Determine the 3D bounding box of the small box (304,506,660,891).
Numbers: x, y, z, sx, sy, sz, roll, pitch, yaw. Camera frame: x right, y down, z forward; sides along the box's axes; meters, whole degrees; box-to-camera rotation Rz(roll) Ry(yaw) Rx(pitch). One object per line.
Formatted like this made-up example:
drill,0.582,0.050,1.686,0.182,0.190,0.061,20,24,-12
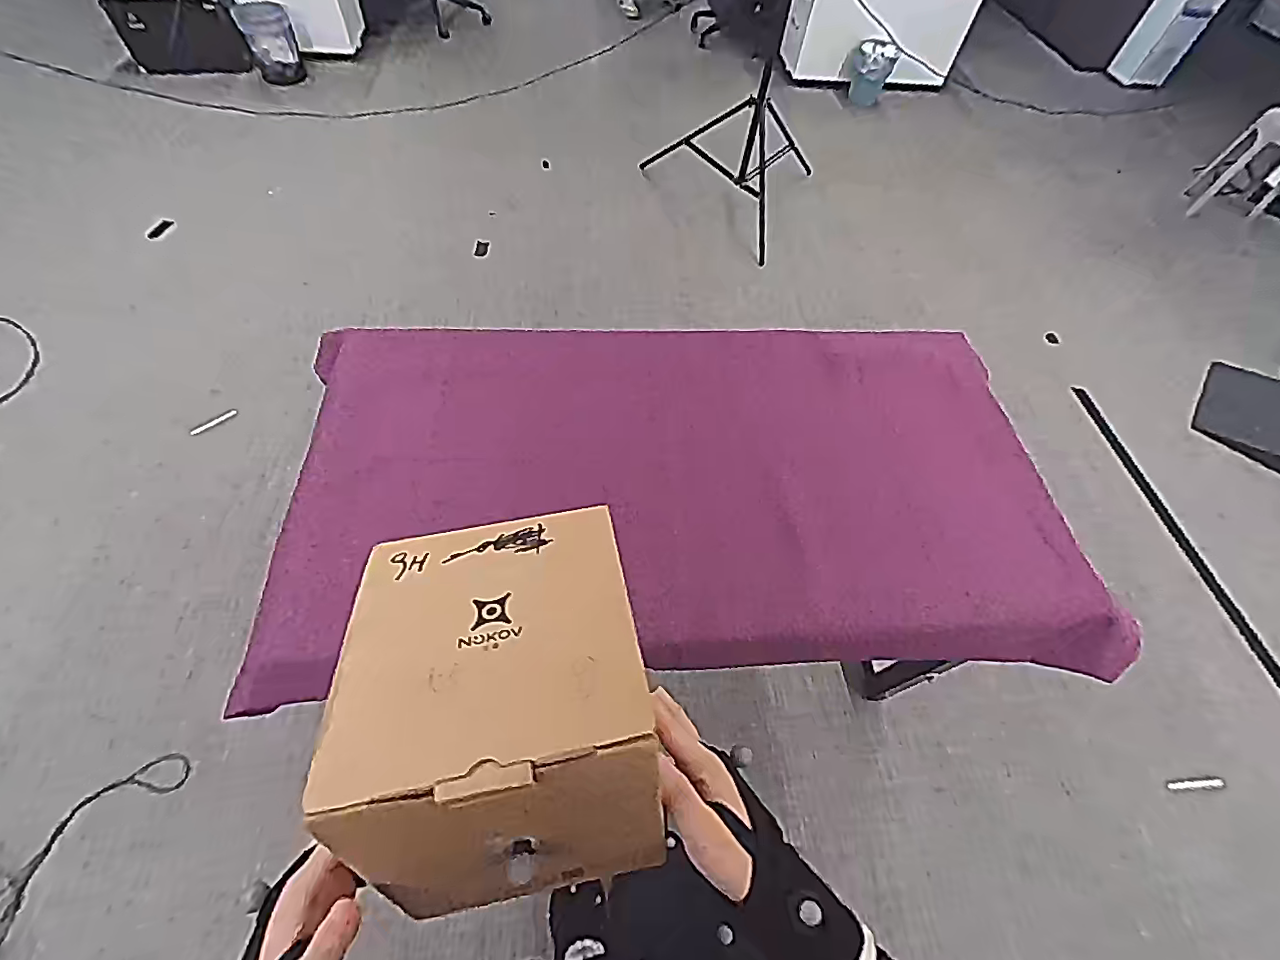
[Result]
small box,-0.083,0.146,0.367,0.168,0.176,0.179,-9,39,-6
